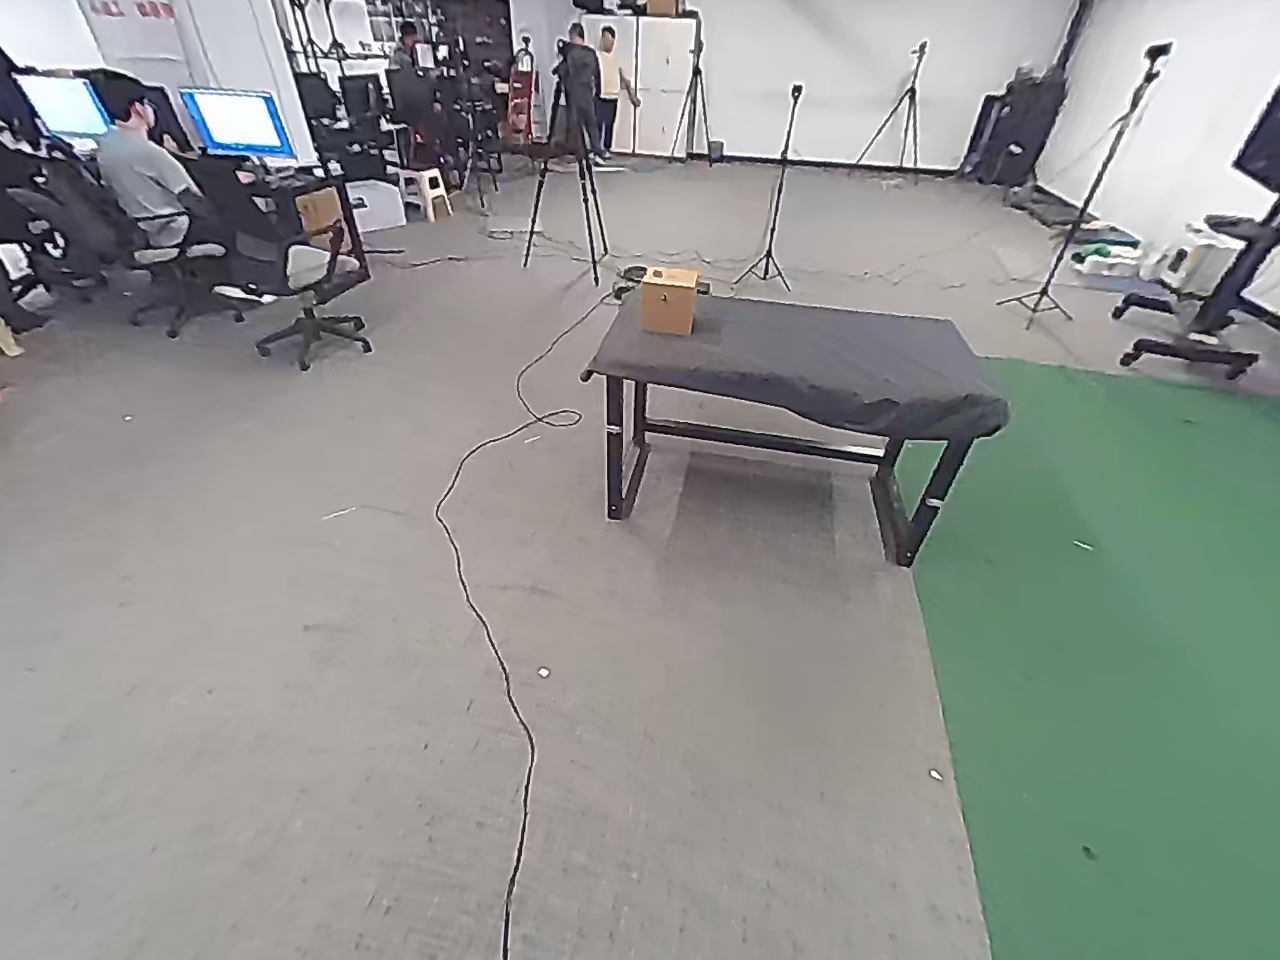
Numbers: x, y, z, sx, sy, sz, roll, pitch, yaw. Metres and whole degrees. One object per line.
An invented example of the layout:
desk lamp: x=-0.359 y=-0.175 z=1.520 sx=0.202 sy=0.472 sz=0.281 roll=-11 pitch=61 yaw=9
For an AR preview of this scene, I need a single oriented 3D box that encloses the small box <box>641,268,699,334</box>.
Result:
small box: x=0.103 y=-0.616 z=1.864 sx=0.179 sy=0.176 sz=0.168 roll=9 pitch=39 yaw=5
